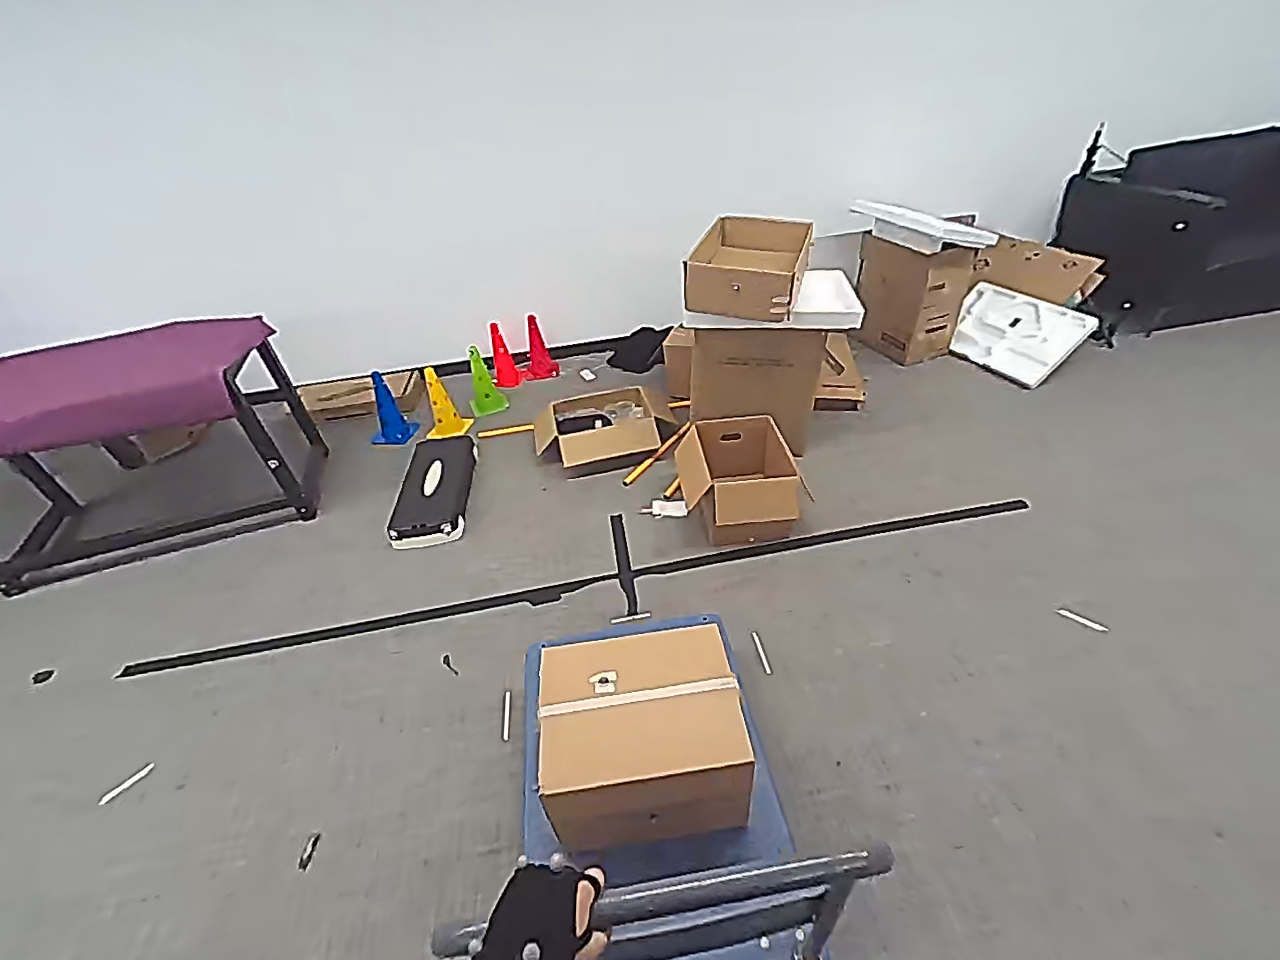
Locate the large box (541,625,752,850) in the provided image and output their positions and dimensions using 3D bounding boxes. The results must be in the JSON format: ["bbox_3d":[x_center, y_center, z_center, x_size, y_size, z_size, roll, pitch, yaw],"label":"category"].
[{"bbox_3d":[0.011,0.572,1.209,0.408,0.320,0.320,-9,37,-2],"label":"large box"}]
